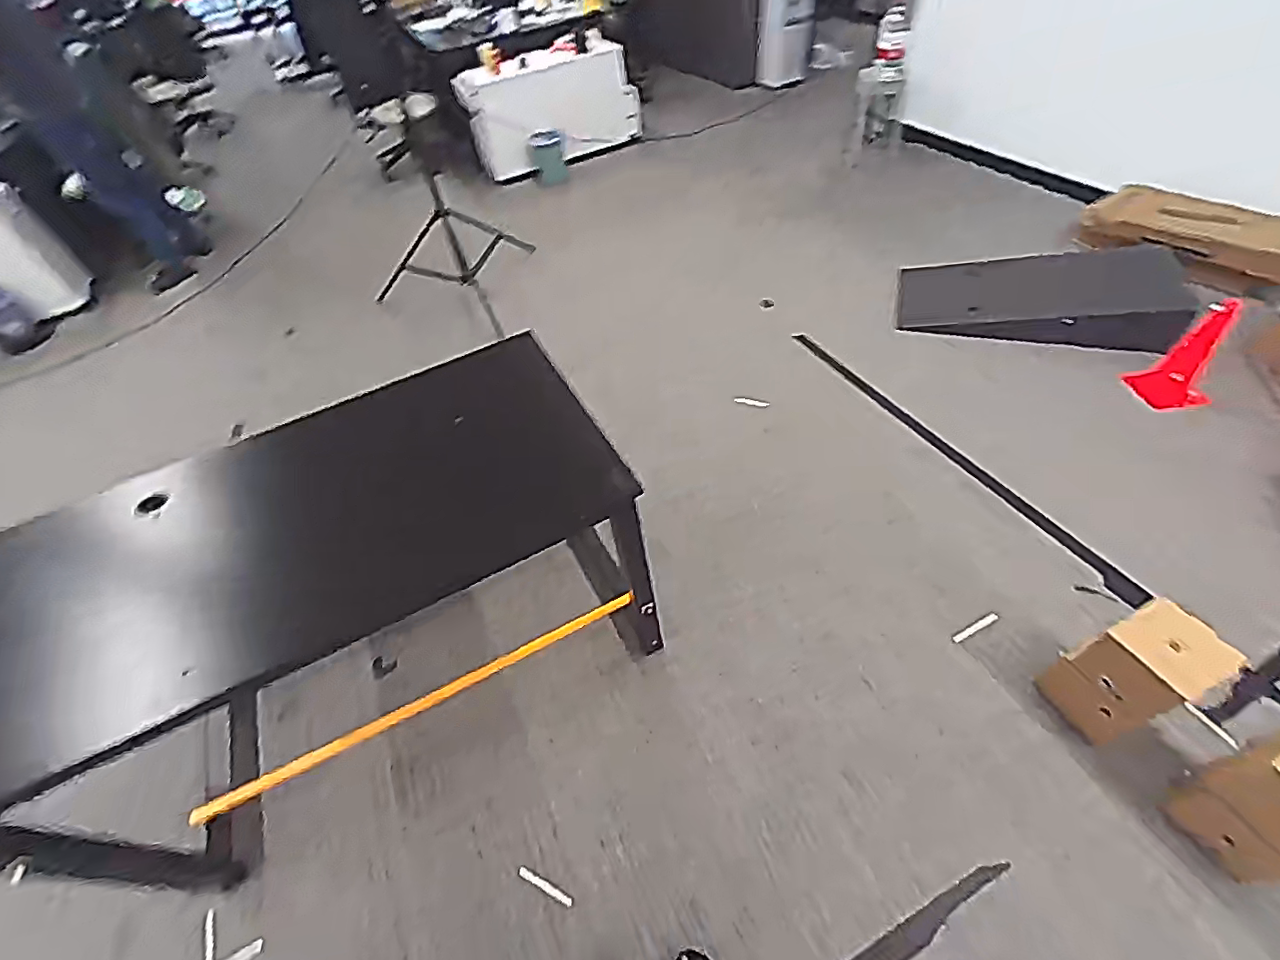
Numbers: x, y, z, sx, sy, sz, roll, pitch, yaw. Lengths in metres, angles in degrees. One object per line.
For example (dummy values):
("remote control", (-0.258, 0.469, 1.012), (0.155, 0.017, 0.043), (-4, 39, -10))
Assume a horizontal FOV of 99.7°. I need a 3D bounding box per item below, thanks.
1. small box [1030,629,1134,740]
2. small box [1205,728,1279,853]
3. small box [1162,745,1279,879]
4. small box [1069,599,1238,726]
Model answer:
("small box", (1.094, 0.495, 1.289), (0.168, 0.176, 0.179), (-24, 51, -13))
("small box", (1.220, 0.574, 0.989), (0.168, 0.176, 0.179), (-27, 52, -15))
("small box", (1.244, 0.683, 1.112), (0.179, 0.176, 0.168), (-28, 52, -14))
("small box", (1.085, 0.393, 1.162), (0.179, 0.176, 0.168), (-26, 50, -12))
